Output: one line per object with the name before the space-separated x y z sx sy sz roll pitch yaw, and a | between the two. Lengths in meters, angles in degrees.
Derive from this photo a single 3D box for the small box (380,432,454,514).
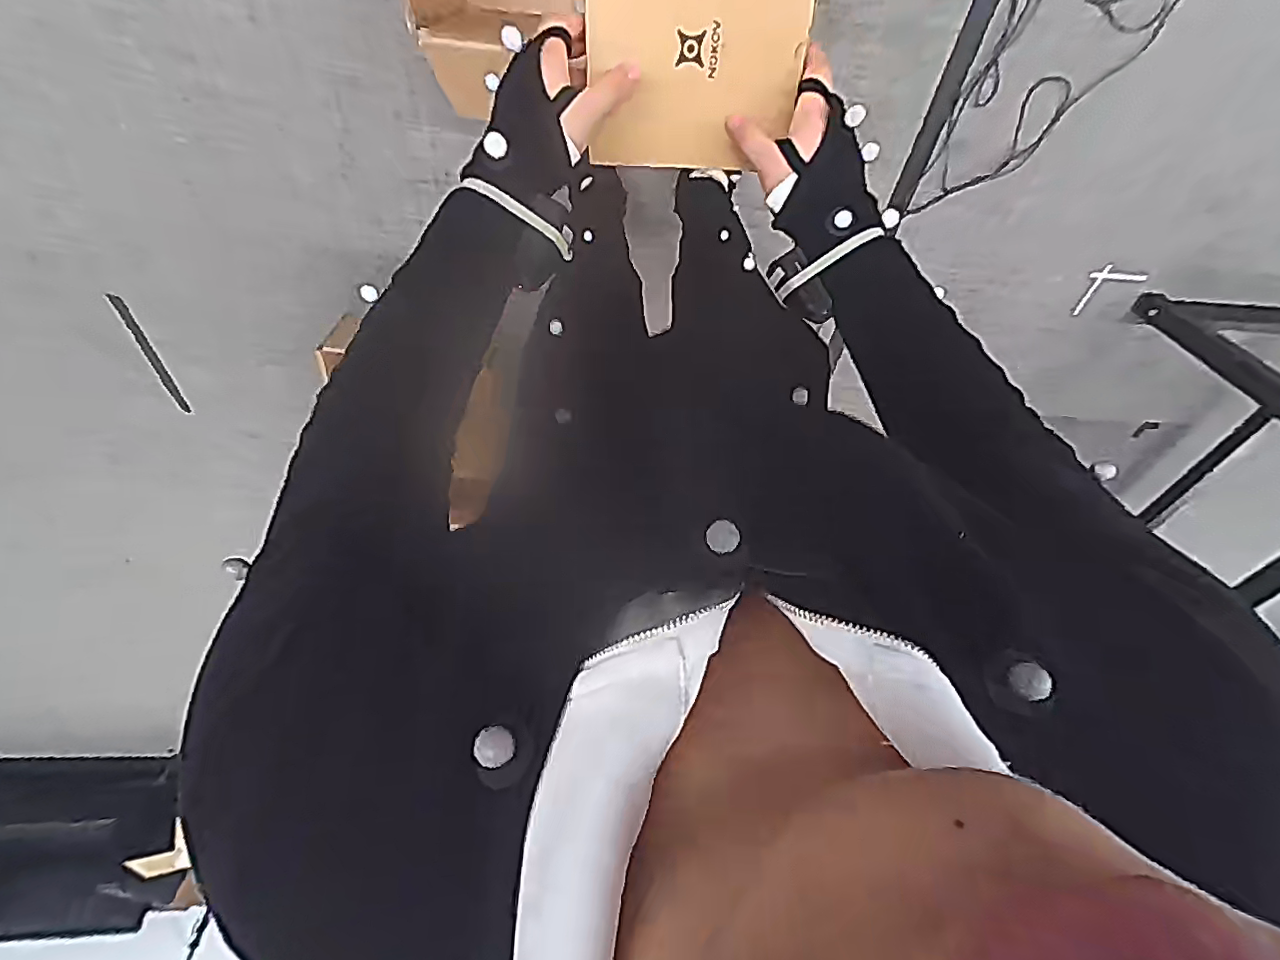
small box | -0.659 -0.020 1.616 0.168 0.176 0.179 4 133 -10

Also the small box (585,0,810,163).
small box | 0.044 -0.401 0.492 0.179 0.176 0.168 1 131 -1
